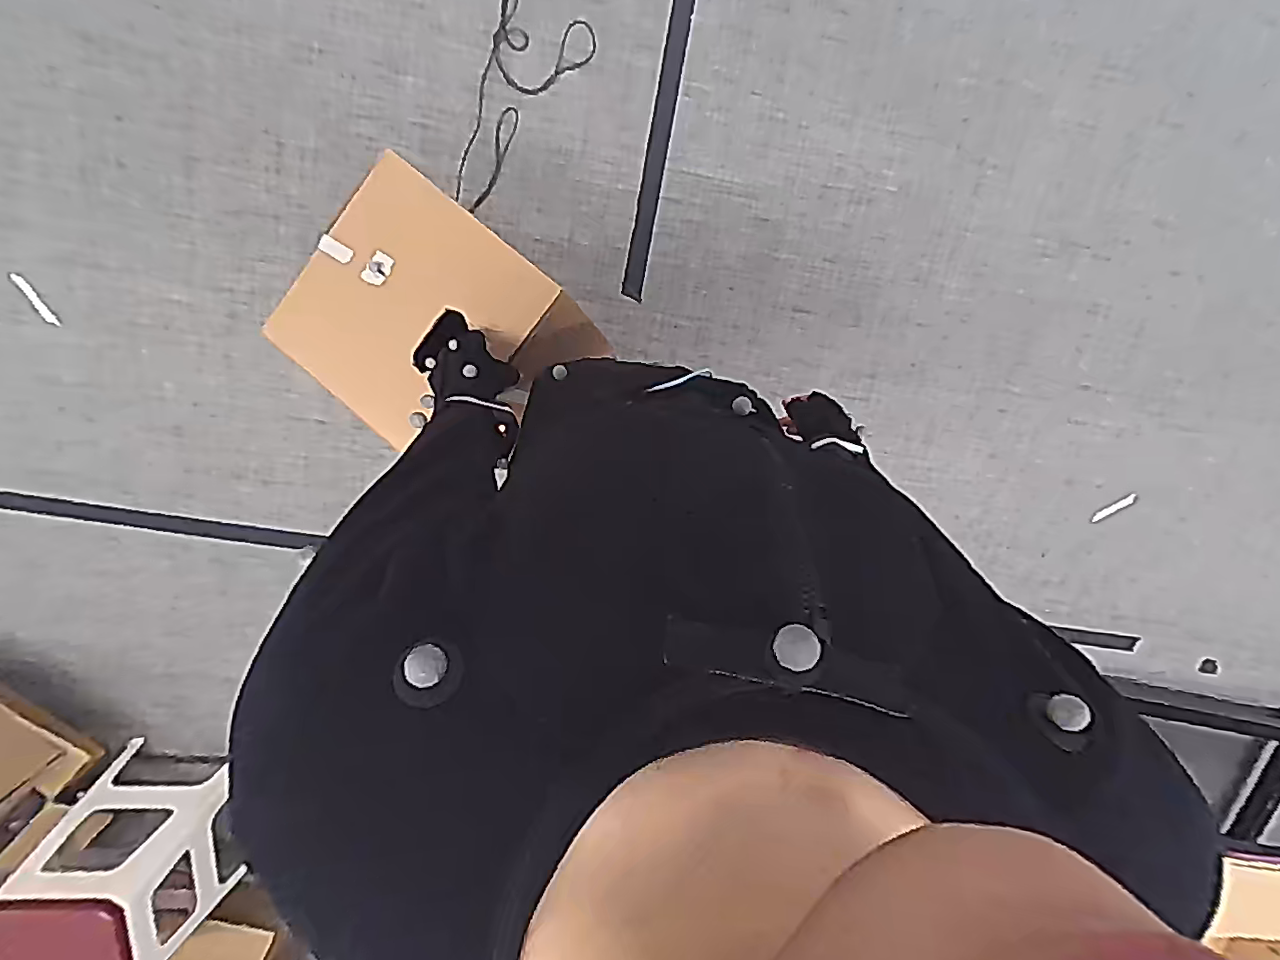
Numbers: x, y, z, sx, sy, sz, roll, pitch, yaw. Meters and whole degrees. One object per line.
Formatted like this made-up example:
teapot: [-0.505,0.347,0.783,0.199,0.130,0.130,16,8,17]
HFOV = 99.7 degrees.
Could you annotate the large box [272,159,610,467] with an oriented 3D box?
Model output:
large box: [-0.297,-0.243,0.930,0.320,0.408,0.320,41,98,3]
